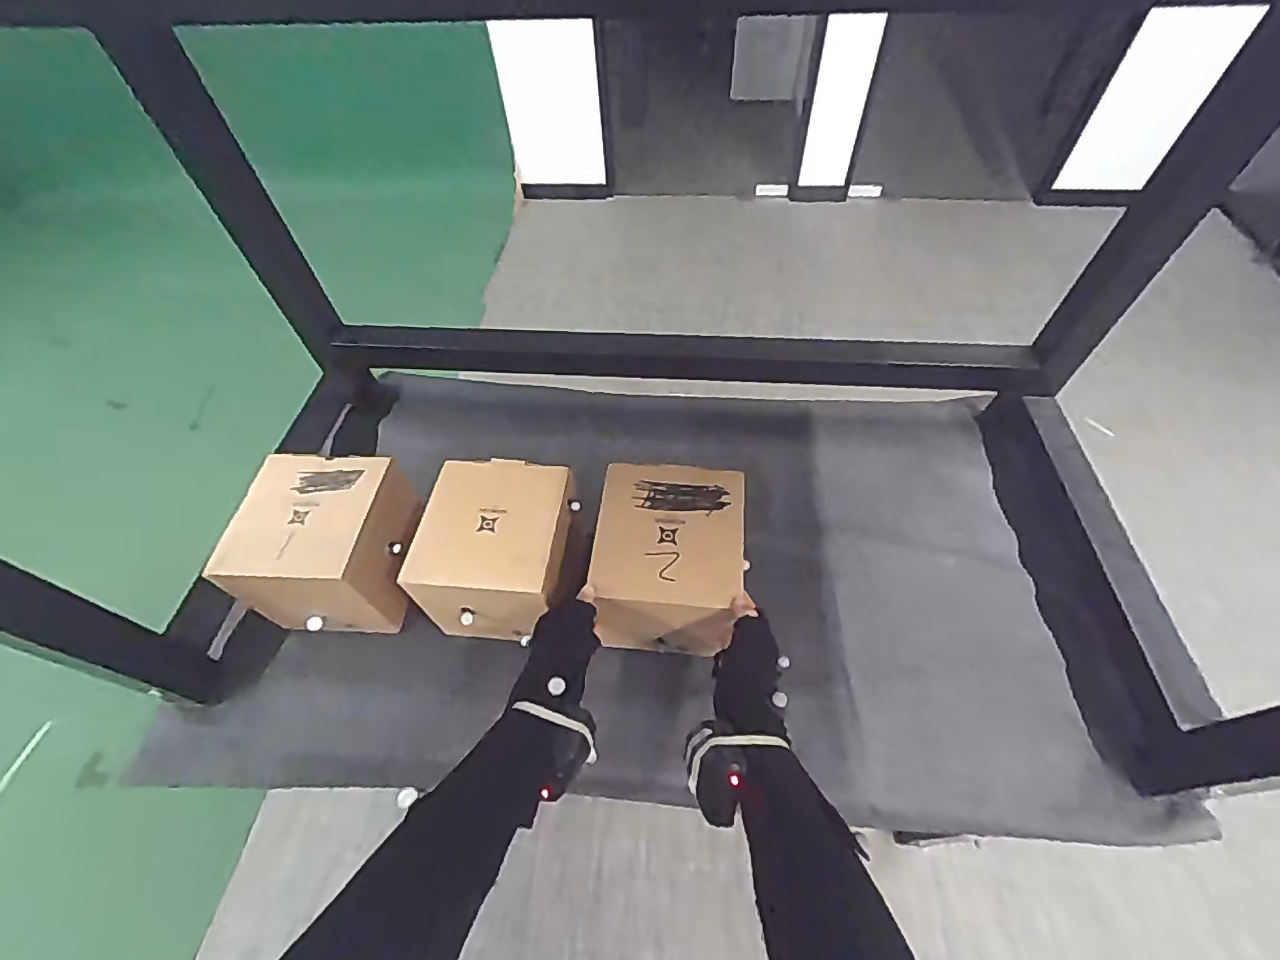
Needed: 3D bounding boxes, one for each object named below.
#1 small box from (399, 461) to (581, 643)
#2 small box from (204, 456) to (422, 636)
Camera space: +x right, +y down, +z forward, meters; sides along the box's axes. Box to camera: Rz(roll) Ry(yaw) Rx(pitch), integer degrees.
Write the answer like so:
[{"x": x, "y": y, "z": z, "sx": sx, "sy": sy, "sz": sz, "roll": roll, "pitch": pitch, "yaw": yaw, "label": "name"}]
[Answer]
[{"x": -0.175, "y": 0.097, "z": 0.702, "sx": 0.168, "sy": 0.176, "sz": 0.179, "roll": 4, "pitch": 53, "yaw": 5, "label": "small box"}, {"x": -0.402, "y": 0.088, "z": 0.715, "sx": 0.168, "sy": 0.176, "sz": 0.179, "roll": 1, "pitch": 53, "yaw": 4, "label": "small box"}]
